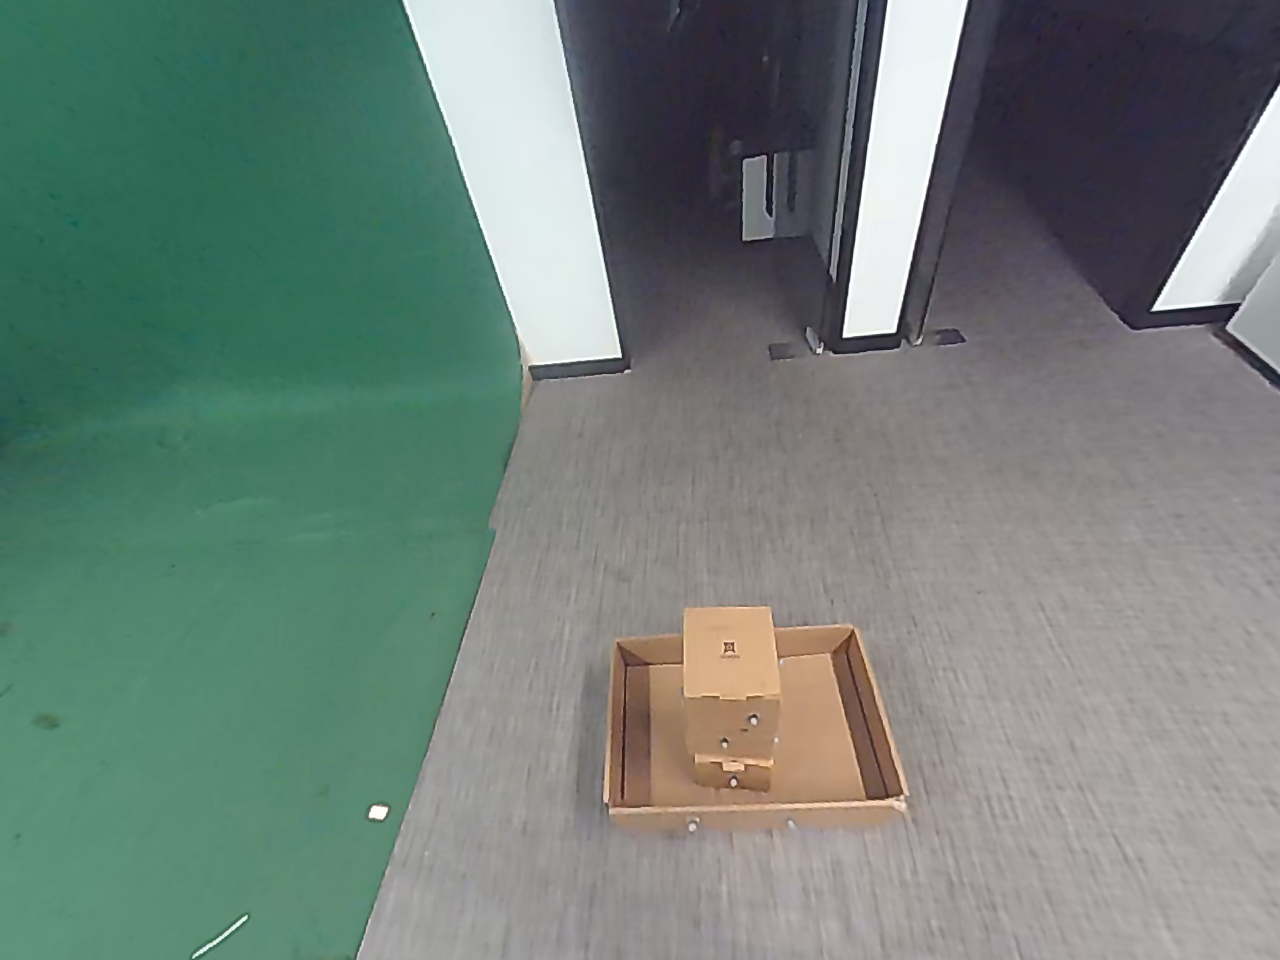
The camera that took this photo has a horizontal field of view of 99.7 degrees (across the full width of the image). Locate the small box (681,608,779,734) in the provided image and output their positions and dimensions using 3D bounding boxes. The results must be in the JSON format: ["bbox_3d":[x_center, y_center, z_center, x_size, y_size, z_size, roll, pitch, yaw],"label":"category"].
[{"bbox_3d":[0.166,0.360,1.017,0.168,0.176,0.179,-1,43,7],"label":"small box"}]

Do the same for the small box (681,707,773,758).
[{"bbox_3d":[0.187,0.467,1.136,0.179,0.176,0.168,1,45,13],"label":"small box"}]

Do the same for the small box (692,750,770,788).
[{"bbox_3d":[0.211,0.590,1.244,0.168,0.176,0.179,0,46,10],"label":"small box"}]
